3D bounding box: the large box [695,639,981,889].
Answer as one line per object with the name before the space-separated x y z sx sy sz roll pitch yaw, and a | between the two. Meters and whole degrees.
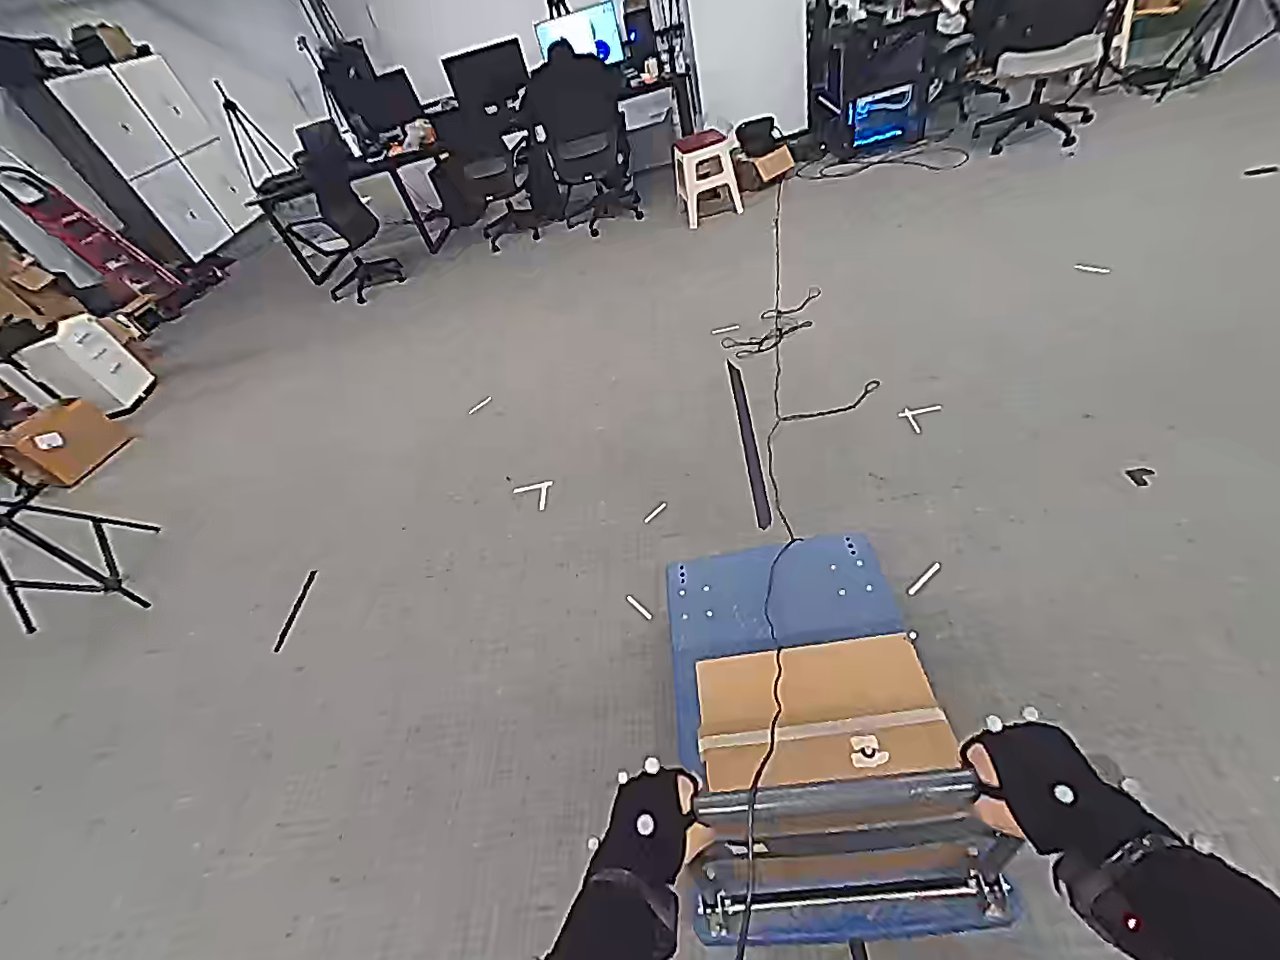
large box | 0.338 0.543 1.025 0.408 0.320 0.320 -10 44 8
